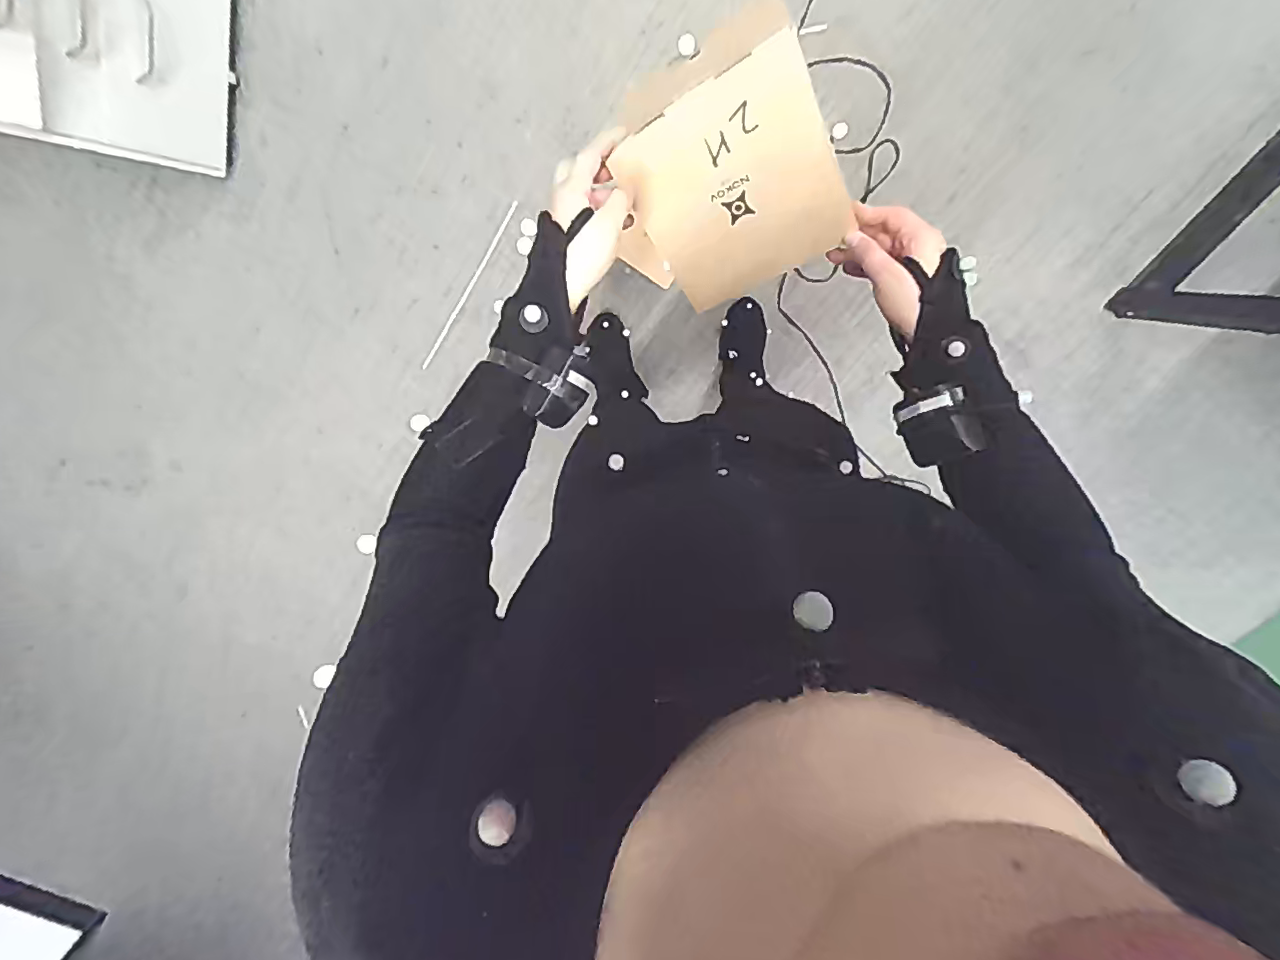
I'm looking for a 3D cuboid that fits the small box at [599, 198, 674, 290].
[{"bbox_3d":[0.029,-0.555,1.223,0.179,0.176,0.168,31,109,-11],"label":"small box"}]

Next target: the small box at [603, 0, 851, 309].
[{"bbox_3d":[0.088,-0.310,0.525,0.168,0.176,0.179,-19,133,27],"label":"small box"}]
